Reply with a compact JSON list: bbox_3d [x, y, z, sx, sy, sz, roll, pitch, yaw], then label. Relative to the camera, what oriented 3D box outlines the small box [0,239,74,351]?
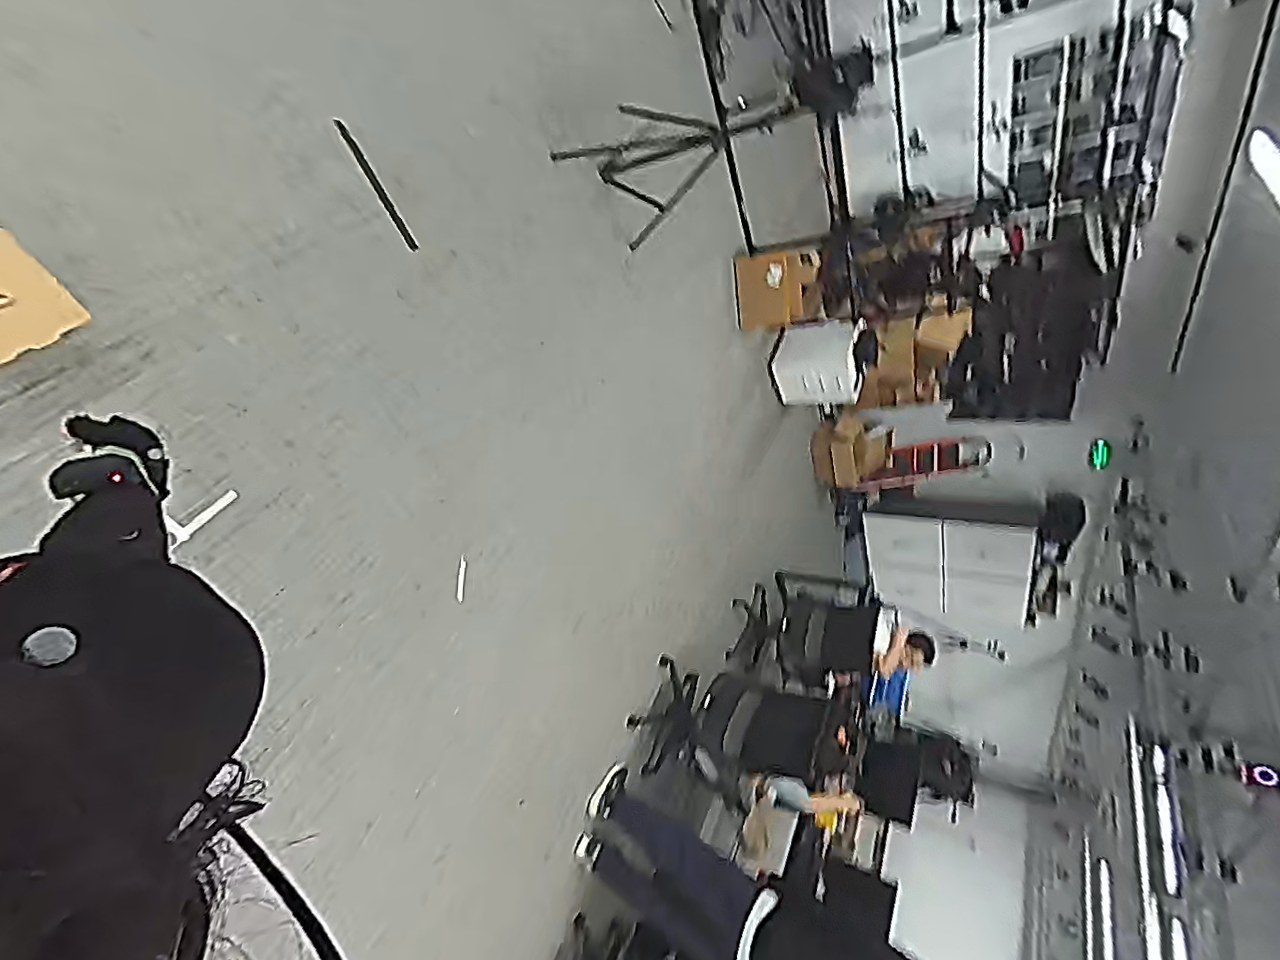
[{"bbox_3d":[-1.159,-0.316,0.932,0.168,0.176,0.179,-57,137,-37],"label":"small box"}]
